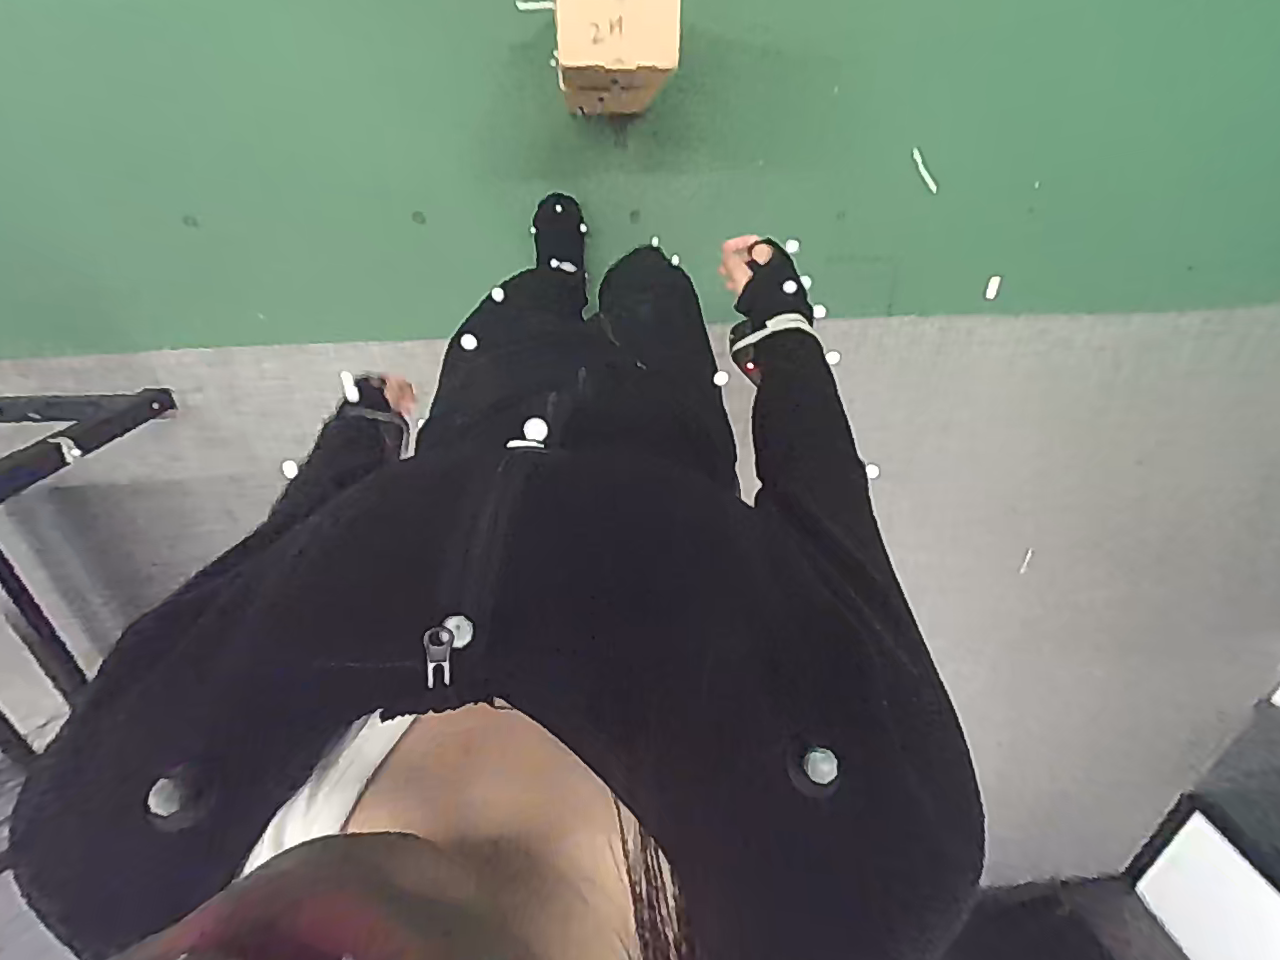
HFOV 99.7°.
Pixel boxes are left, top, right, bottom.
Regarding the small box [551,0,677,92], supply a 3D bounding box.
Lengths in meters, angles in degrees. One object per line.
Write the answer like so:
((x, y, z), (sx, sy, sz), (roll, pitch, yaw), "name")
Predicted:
((-0.042, -0.673, 0.766), (0.168, 0.176, 0.179), (-3, 118, -6), "small box")

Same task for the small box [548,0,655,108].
((-0.068, -0.745, 0.912), (0.168, 0.176, 0.179), (-4, 119, -5), "small box")
